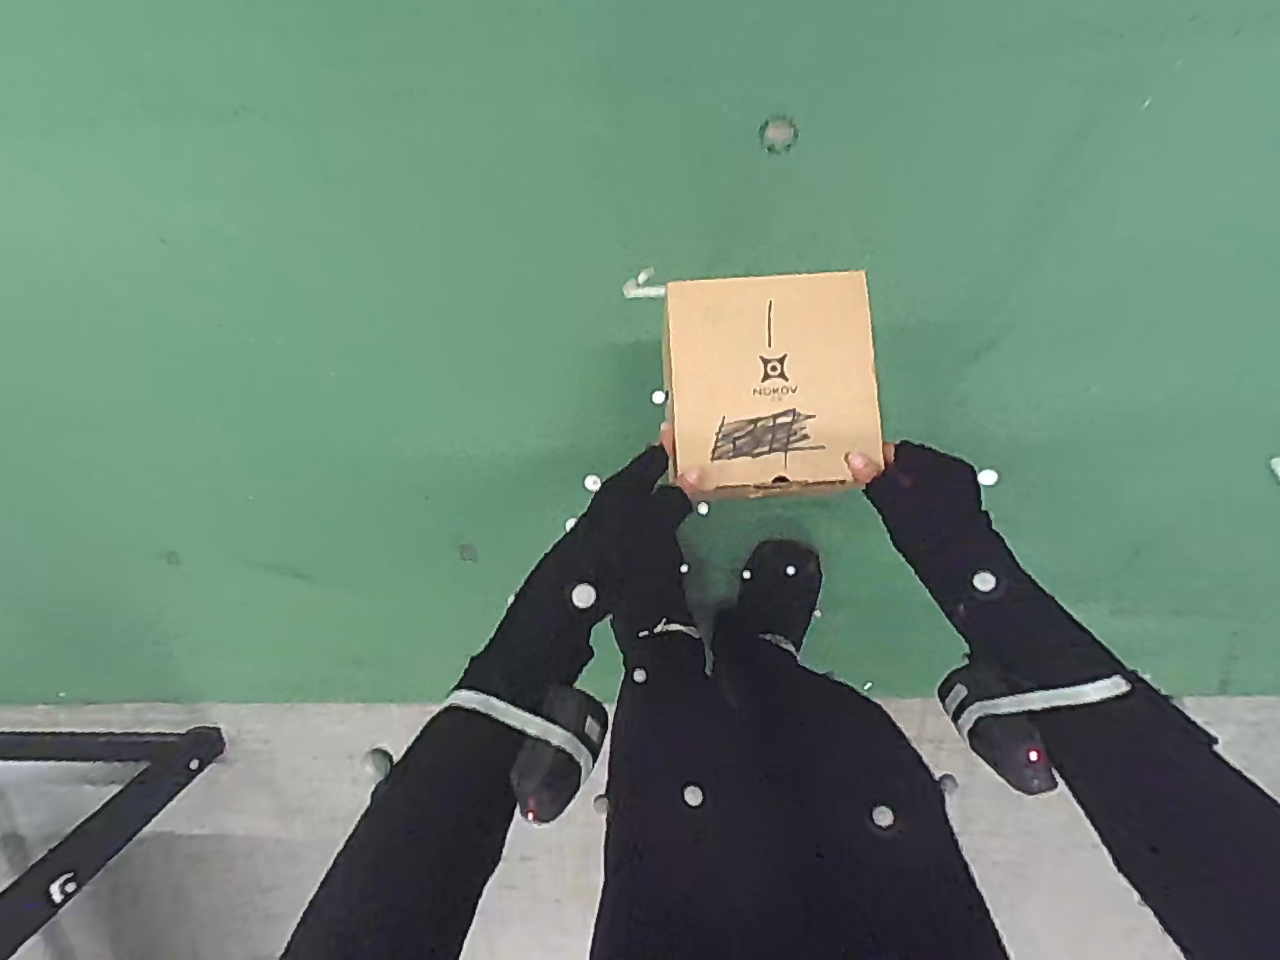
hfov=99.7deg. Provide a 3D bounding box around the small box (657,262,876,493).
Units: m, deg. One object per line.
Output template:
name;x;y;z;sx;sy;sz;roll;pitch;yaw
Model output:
small box;0.102;-0.079;0.510;0.168;0.176;0.179;-3;85;1
